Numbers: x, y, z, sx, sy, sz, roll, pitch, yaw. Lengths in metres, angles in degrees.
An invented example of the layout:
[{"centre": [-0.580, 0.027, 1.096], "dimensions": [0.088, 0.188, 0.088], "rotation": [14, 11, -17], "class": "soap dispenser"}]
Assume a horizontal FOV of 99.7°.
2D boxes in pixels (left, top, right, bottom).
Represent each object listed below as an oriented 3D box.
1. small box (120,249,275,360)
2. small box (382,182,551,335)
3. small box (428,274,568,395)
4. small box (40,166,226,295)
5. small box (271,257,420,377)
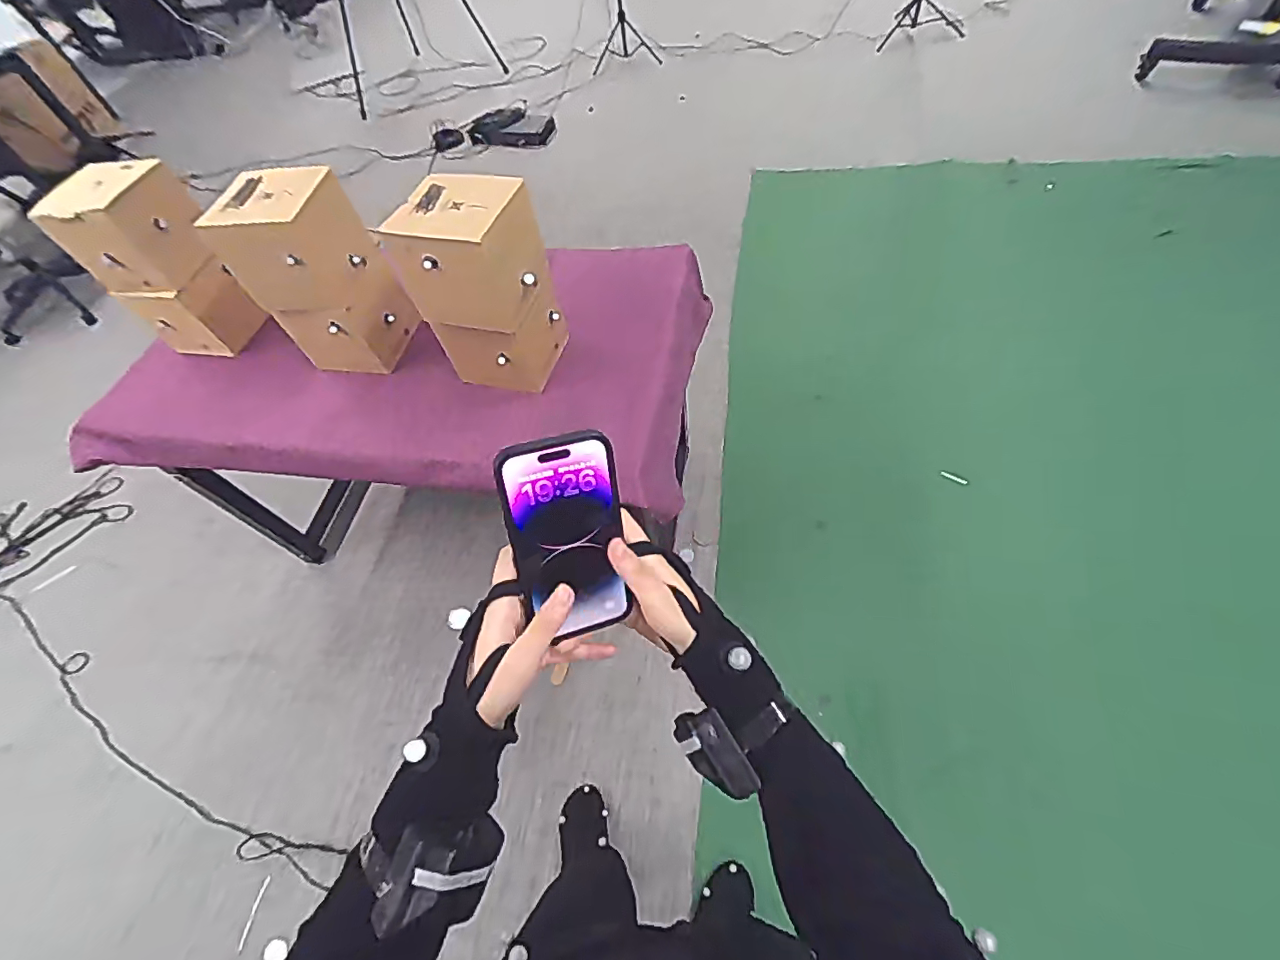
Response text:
[{"centre": [-0.959, -0.386, 1.196], "dimensions": [0.168, 0.176, 0.179], "rotation": [7, 58, 12], "class": "small box"}, {"centre": [-0.269, -0.358, 0.882], "dimensions": [0.179, 0.176, 0.168], "rotation": [11, 59, 15], "class": "small box"}, {"centre": [-0.256, -0.282, 1.027], "dimensions": [0.179, 0.176, 0.168], "rotation": [11, 58, 16], "class": "small box"}, {"centre": [-0.977, -0.484, 1.065], "dimensions": [0.168, 0.176, 0.179], "rotation": [3, 58, 9], "class": "small box"}, {"centre": [-0.584, -0.329, 1.104], "dimensions": [0.179, 0.176, 0.168], "rotation": [6, 57, 12], "class": "small box"}]
